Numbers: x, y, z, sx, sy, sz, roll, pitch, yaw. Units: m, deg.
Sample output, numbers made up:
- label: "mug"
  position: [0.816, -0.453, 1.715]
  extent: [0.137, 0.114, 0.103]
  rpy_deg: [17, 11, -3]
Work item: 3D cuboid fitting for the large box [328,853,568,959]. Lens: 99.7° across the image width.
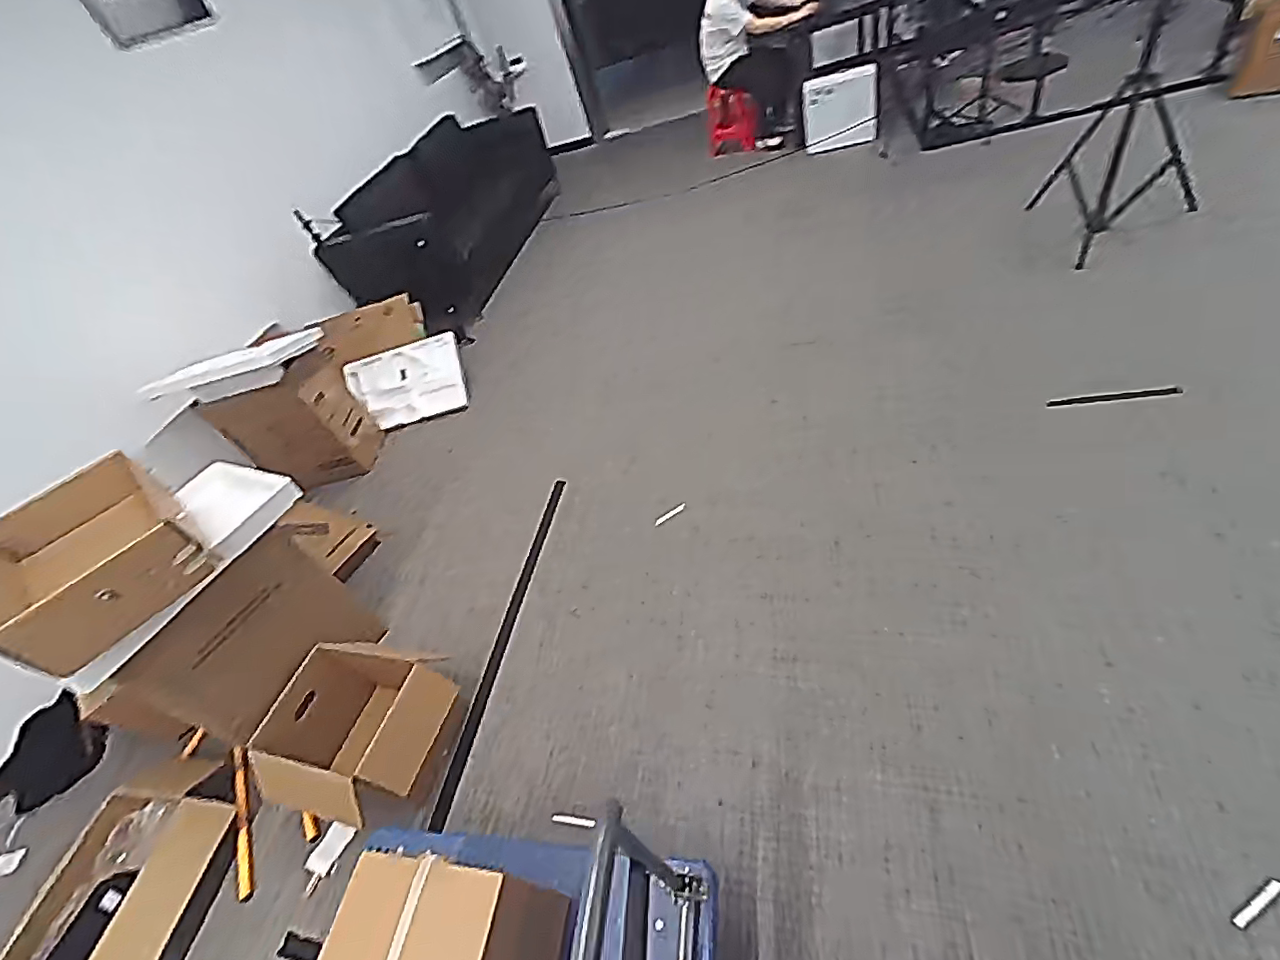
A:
- label: "large box"
  position: [-0.359, 0.945, 0.967]
  extent: [0.320, 0.320, 0.408]
  rpy_deg: [-6, 47, 19]
